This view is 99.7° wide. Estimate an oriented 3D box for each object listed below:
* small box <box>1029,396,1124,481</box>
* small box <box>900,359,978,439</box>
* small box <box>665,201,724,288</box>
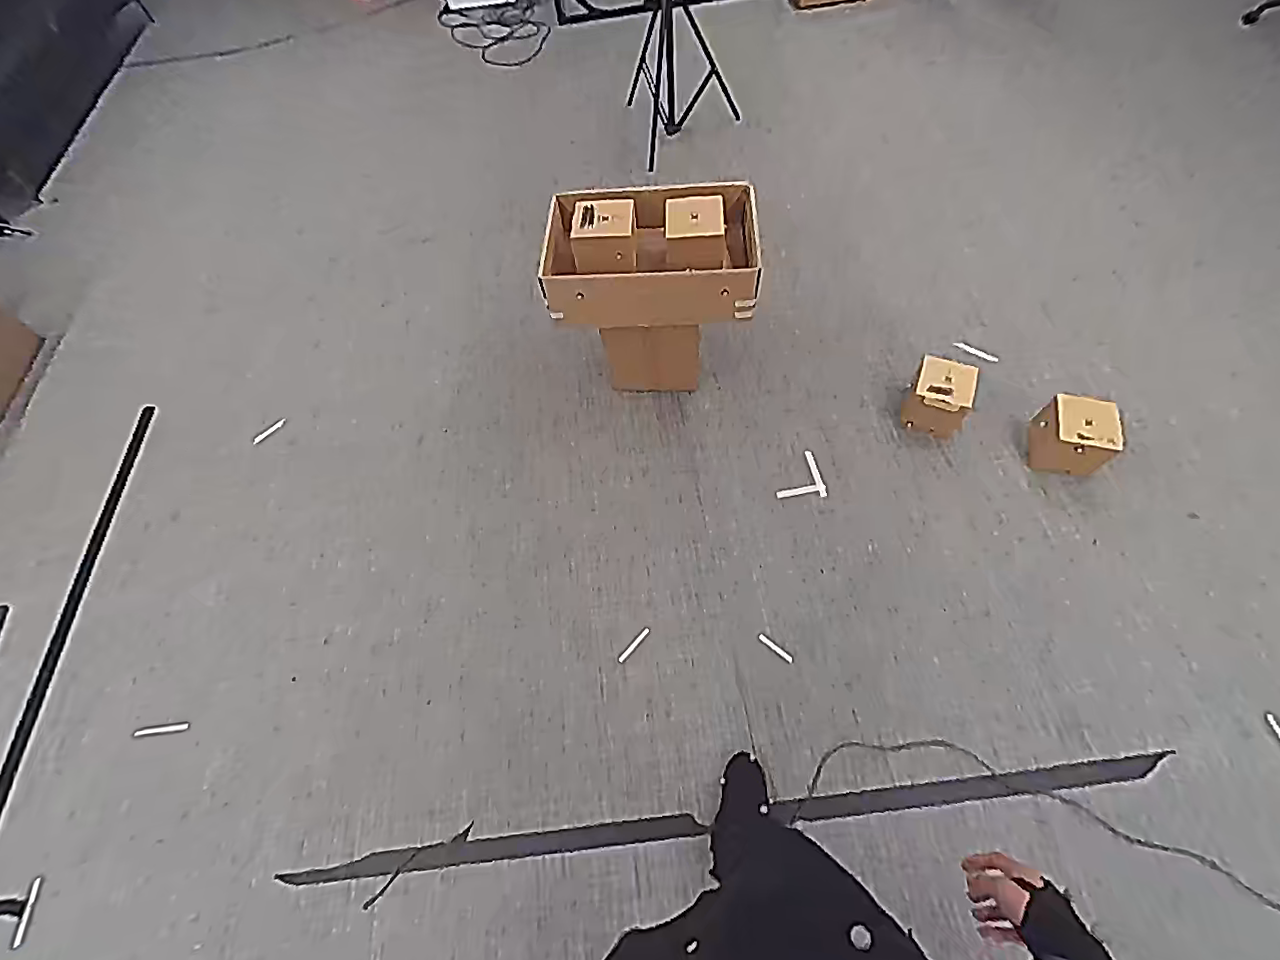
[{"bbox_3d":[1.324,-0.124,1.655,0.168,0.176,0.179,13,62,13],"label":"small box"},{"bbox_3d":[0.968,-0.260,1.764,0.168,0.176,0.179,19,64,15],"label":"small box"},{"bbox_3d":[0.162,-0.697,1.605,0.168,0.176,0.179,-2,59,6],"label":"small box"}]
